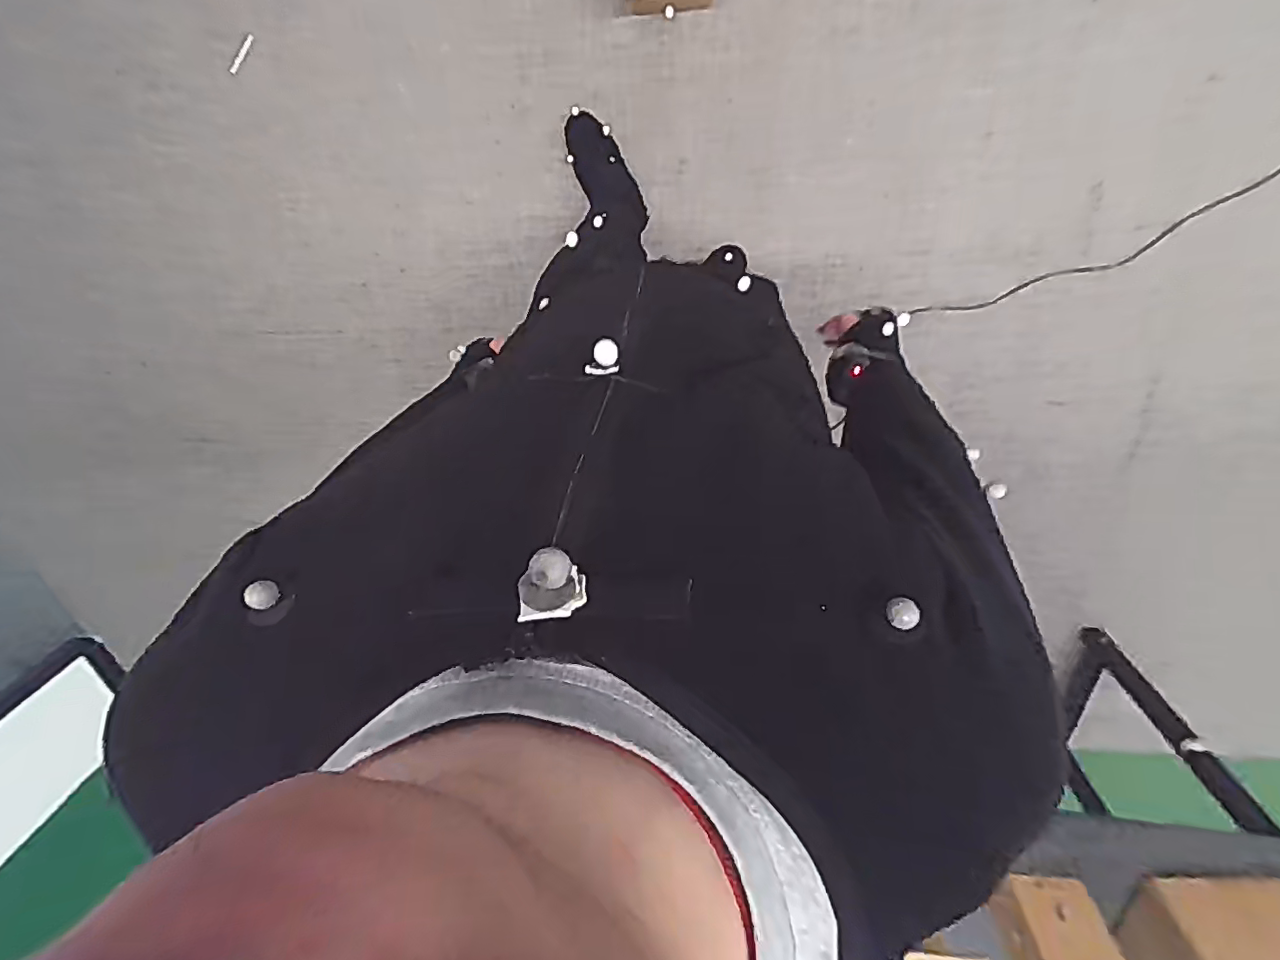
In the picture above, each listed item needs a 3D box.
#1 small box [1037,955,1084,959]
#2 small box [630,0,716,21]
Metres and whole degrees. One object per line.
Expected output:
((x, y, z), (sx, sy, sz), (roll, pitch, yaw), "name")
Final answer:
((0.947, 1.148, 1.147), (0.168, 0.176, 0.179), (0, 122, 7), "small box")
((0.060, -0.984, 0.998), (0.168, 0.176, 0.179), (0, 122, 7), "small box")
